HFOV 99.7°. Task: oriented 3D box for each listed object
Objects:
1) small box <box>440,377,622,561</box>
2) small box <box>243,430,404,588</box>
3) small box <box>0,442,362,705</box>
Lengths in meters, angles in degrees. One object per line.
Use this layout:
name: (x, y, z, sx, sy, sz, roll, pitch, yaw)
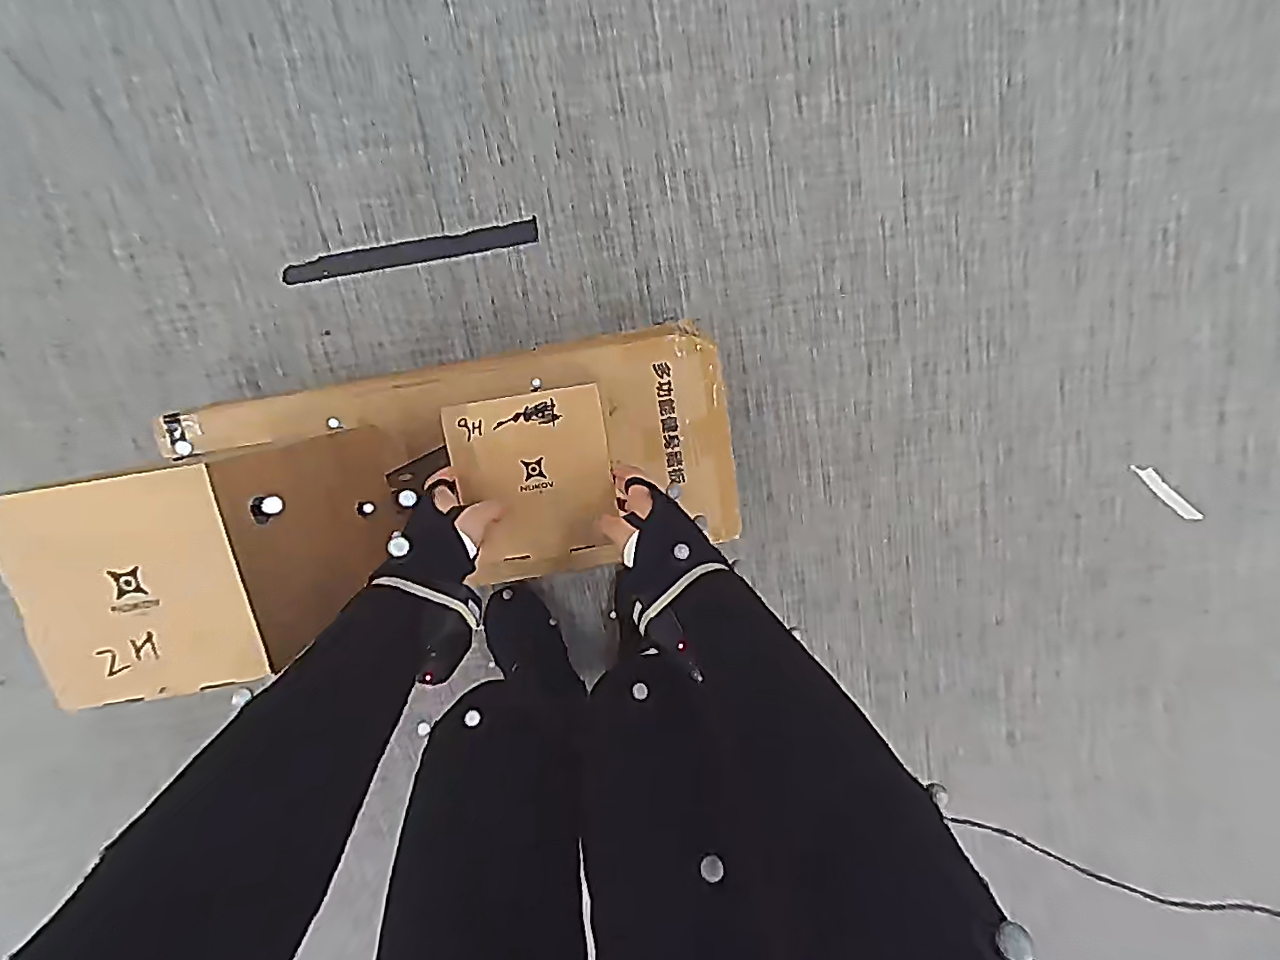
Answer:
small box: (-0.115, -0.023, 0.653, 0.168, 0.176, 0.179, -8, 104, 1)
small box: (-0.411, 0.040, 0.650, 0.168, 0.176, 0.179, -11, 104, -1)
small box: (-0.383, 0.065, 0.488, 0.168, 0.176, 0.179, -9, 103, -2)
